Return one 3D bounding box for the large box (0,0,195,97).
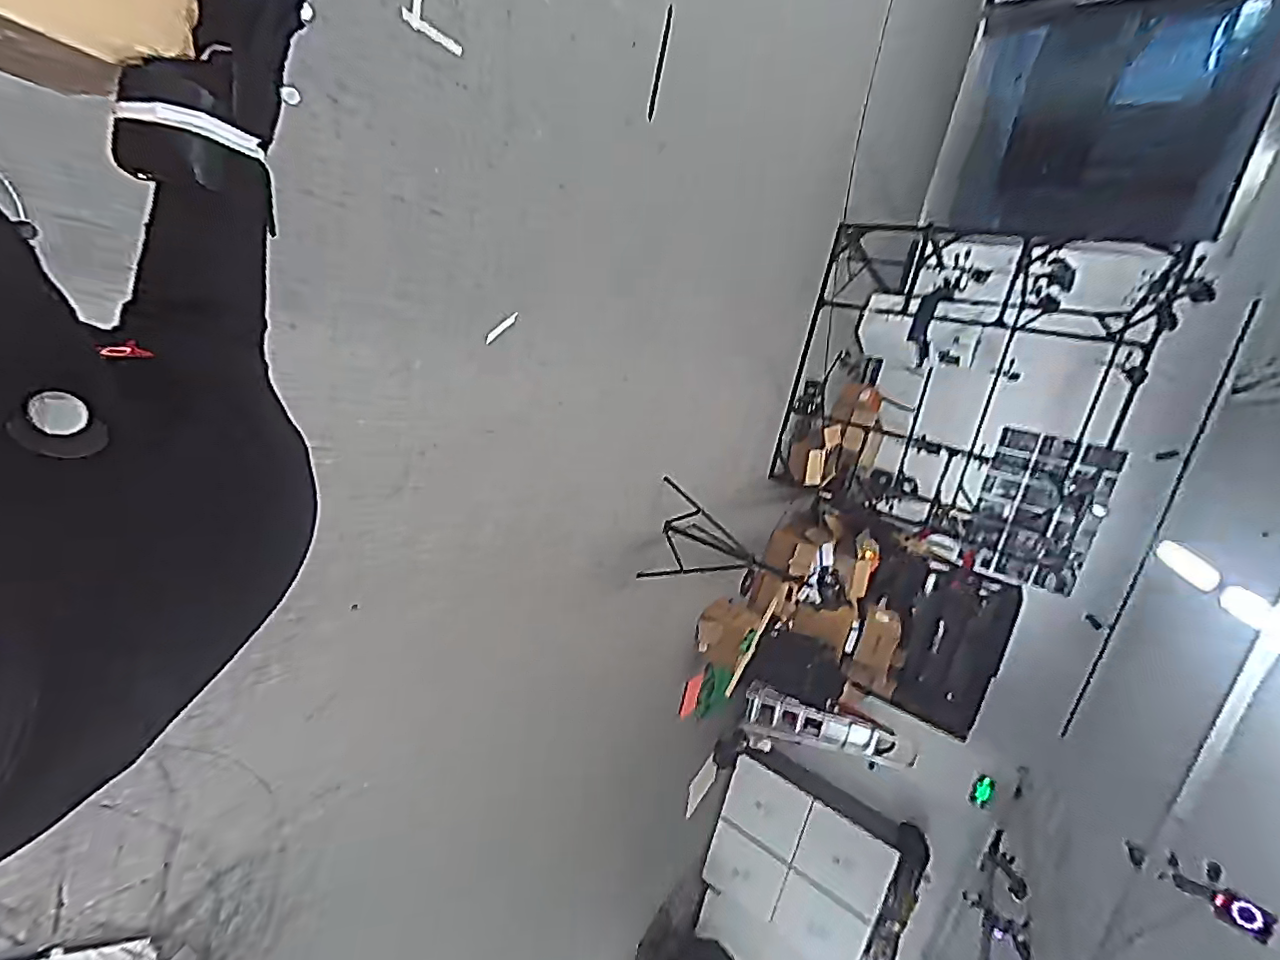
[{"bbox_3d":[-0.509,-0.450,0.255,0.408,0.320,0.320,-6,117,-57],"label":"large box"}]
